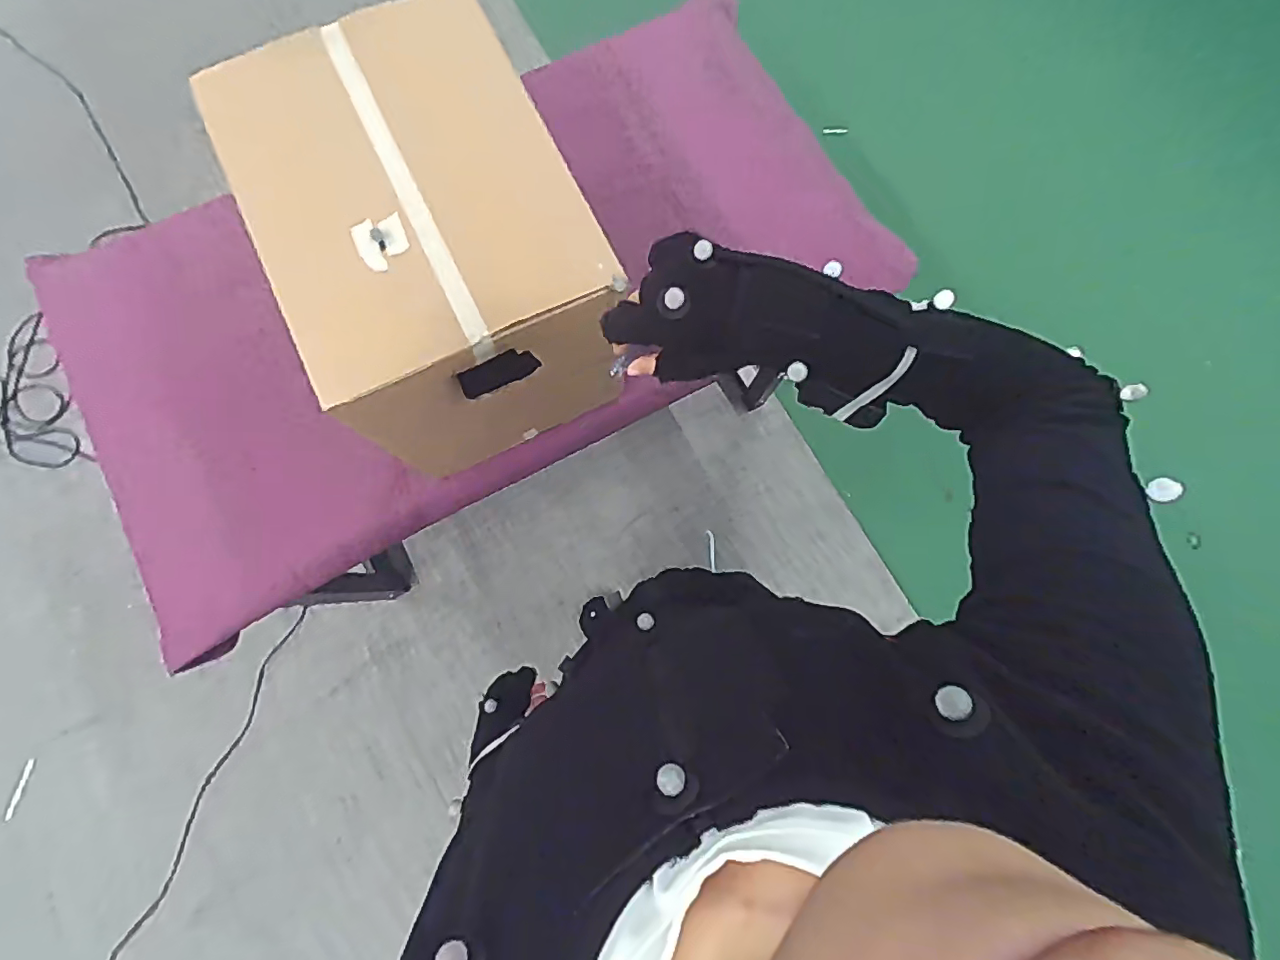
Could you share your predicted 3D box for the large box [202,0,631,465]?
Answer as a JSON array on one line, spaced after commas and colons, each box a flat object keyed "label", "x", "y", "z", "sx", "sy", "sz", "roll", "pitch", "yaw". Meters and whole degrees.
[{"label": "large box", "x": -0.244, "y": -0.285, "z": 0.700, "sx": 0.320, "sy": 0.320, "sz": 0.408, "roll": -26, "pitch": 81, "yaw": -7}]
